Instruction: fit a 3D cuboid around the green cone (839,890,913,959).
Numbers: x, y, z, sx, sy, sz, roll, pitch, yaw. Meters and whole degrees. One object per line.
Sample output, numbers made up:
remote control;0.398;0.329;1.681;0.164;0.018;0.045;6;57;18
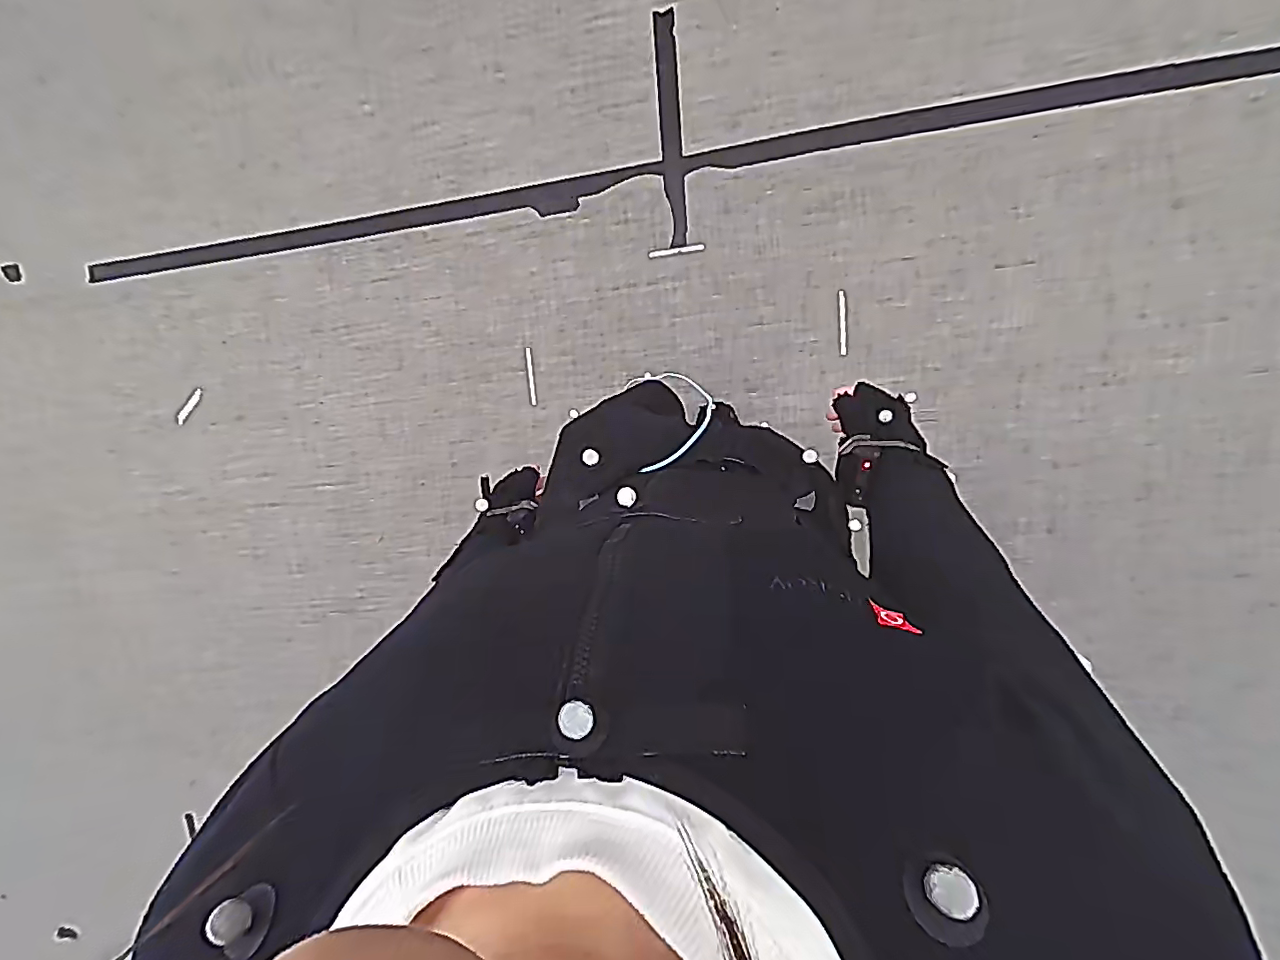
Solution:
green cone;0.649;1.287;1.373;0.202;0.368;0.200;-3;99;8

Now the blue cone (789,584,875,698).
blue cone;0.469;0.392;1.265;0.192;0.380;0.193;1;100;8
